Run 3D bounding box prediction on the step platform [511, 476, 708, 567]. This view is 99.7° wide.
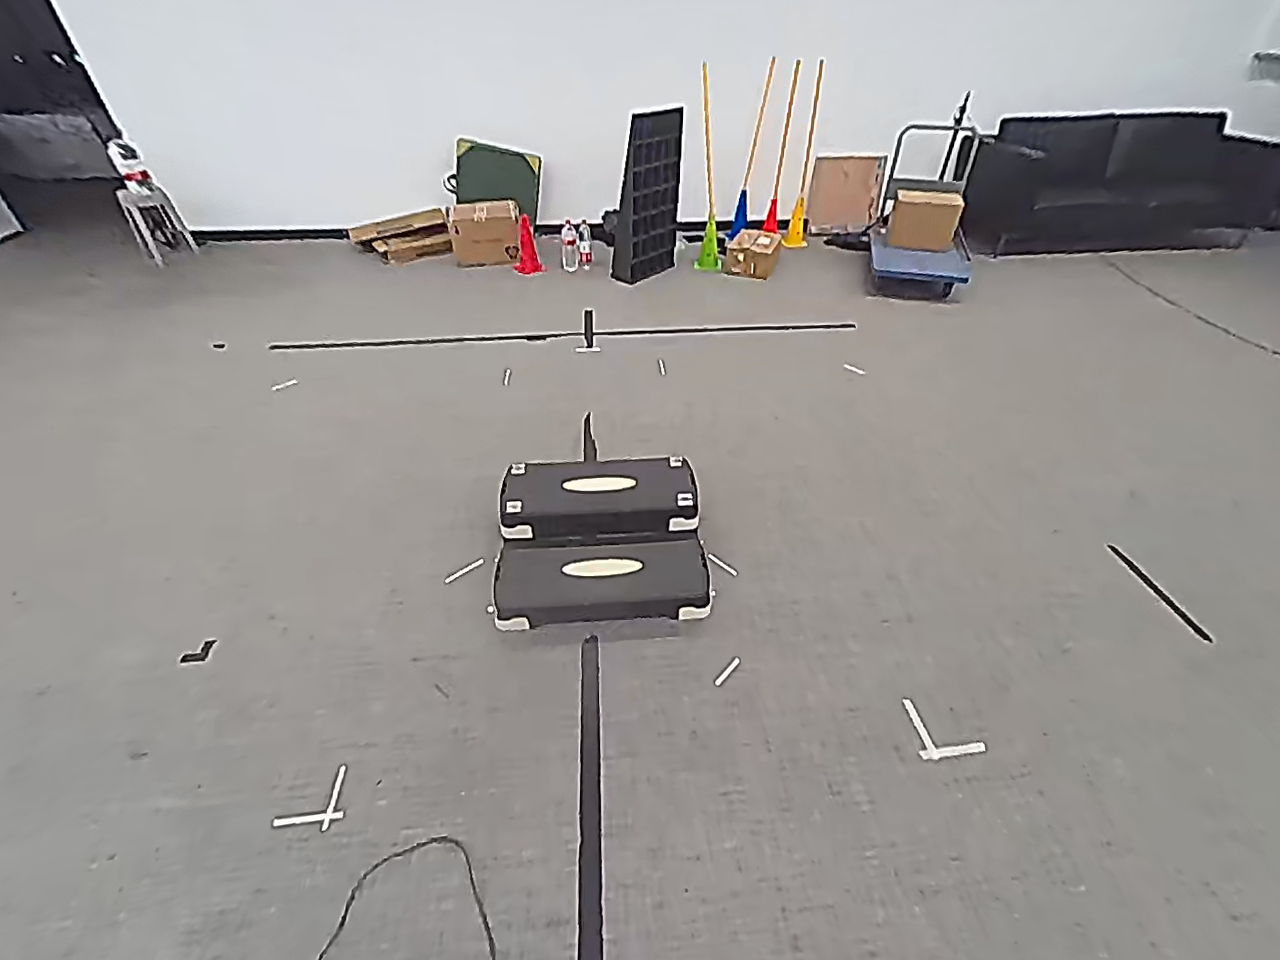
[{"bbox_3d":[-0.104,0.139,1.909,0.684,0.204,0.286,0,39,-1],"label":"step platform"}]
